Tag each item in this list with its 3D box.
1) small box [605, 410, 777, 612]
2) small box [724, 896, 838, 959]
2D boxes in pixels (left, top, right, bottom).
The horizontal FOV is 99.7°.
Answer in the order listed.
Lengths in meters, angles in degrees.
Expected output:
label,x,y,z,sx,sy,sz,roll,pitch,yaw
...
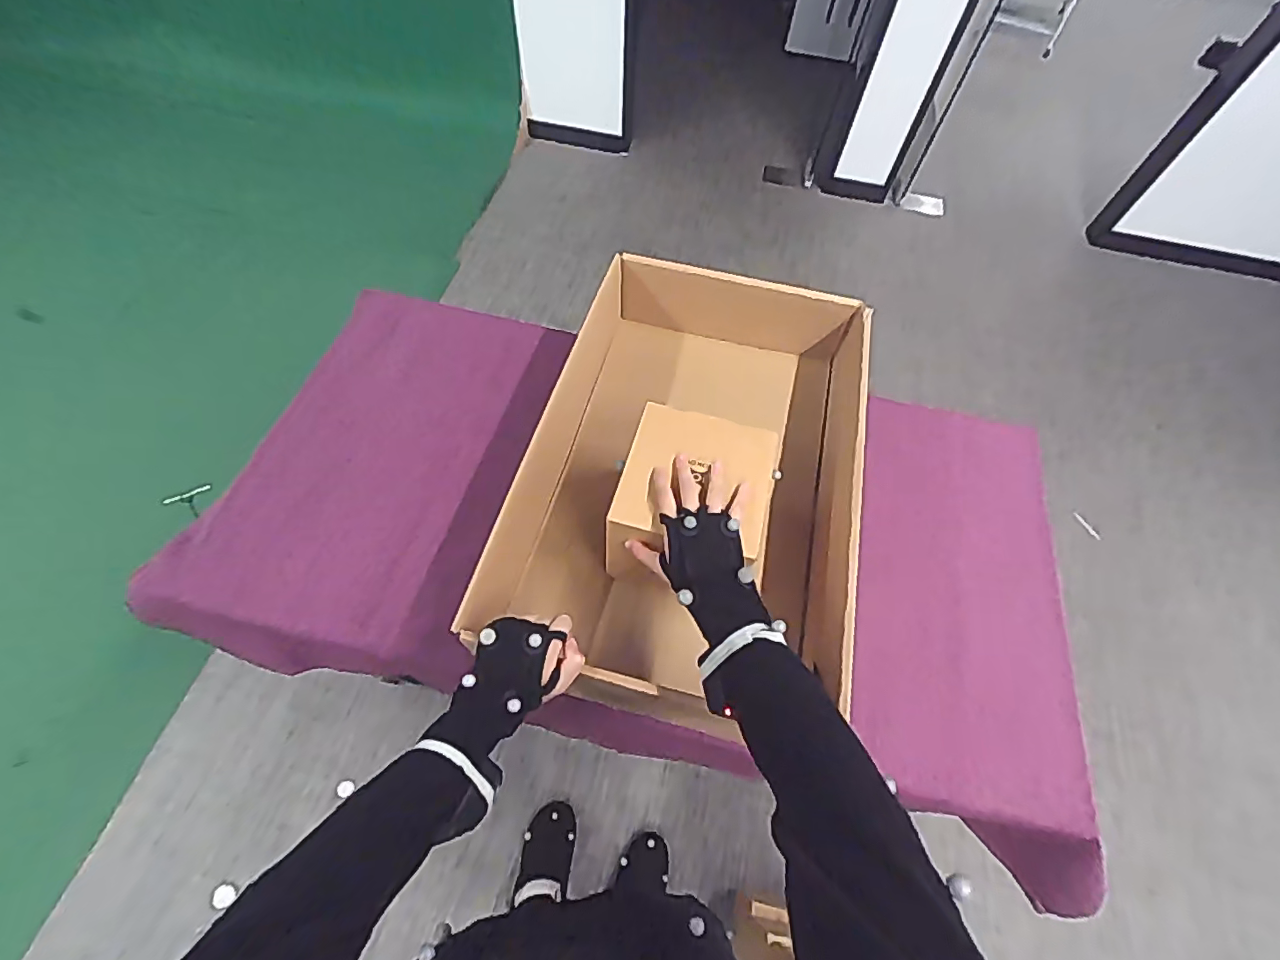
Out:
label,x,y,z,sx,sy,sz,roll,pitch,yaw
small box,0.061,0.045,0.683,0.168,0.176,0.179,15,57,6
small box,0.273,0.952,1.067,0.179,0.176,0.168,12,60,4
